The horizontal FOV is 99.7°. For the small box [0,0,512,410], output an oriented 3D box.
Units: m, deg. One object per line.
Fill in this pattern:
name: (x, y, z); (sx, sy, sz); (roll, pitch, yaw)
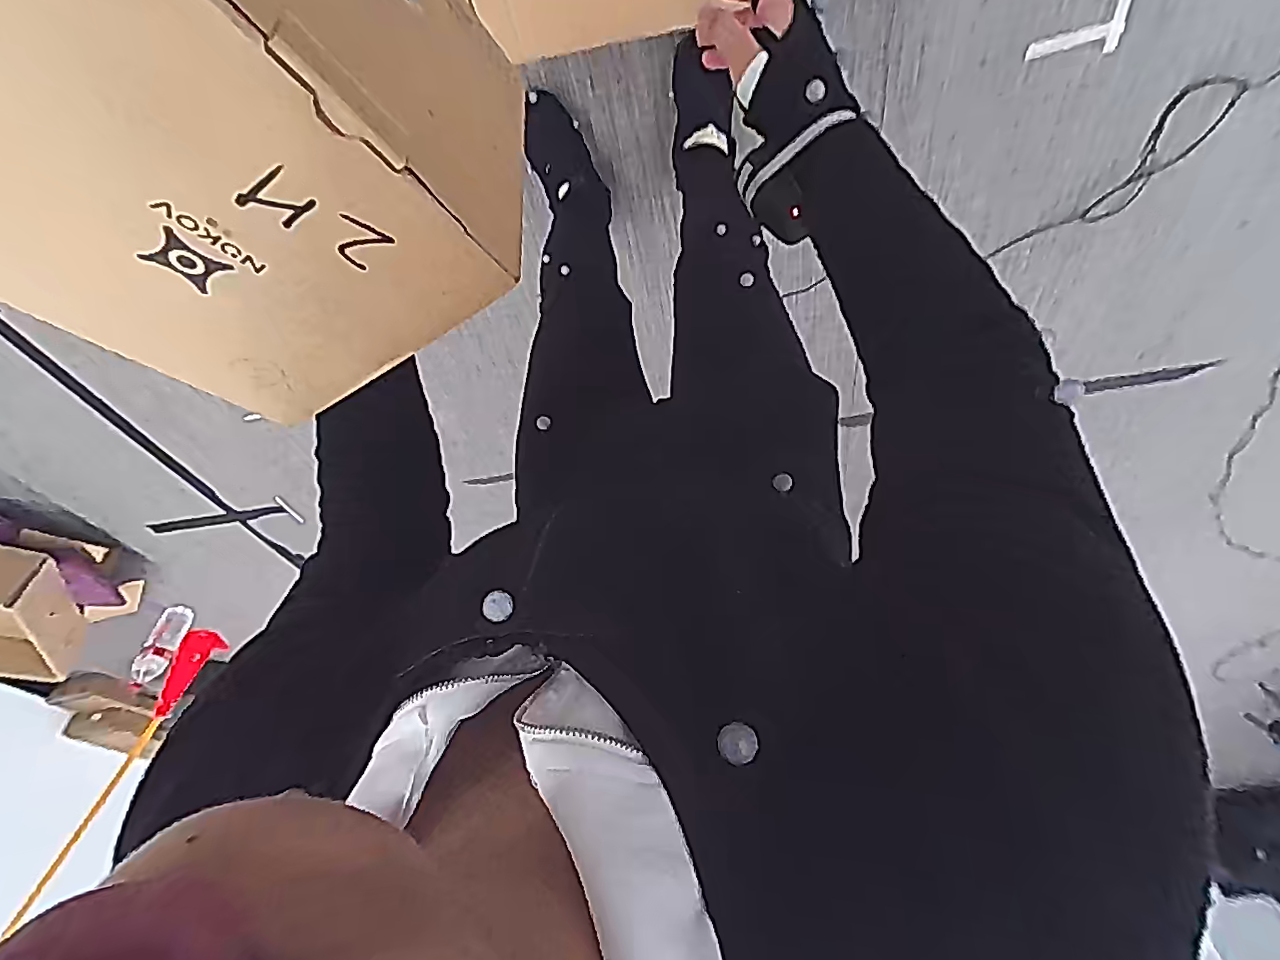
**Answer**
small box: (-0.175, -0.167, 0.253); (0.179, 0.176, 0.168); (-21, 149, 24)
